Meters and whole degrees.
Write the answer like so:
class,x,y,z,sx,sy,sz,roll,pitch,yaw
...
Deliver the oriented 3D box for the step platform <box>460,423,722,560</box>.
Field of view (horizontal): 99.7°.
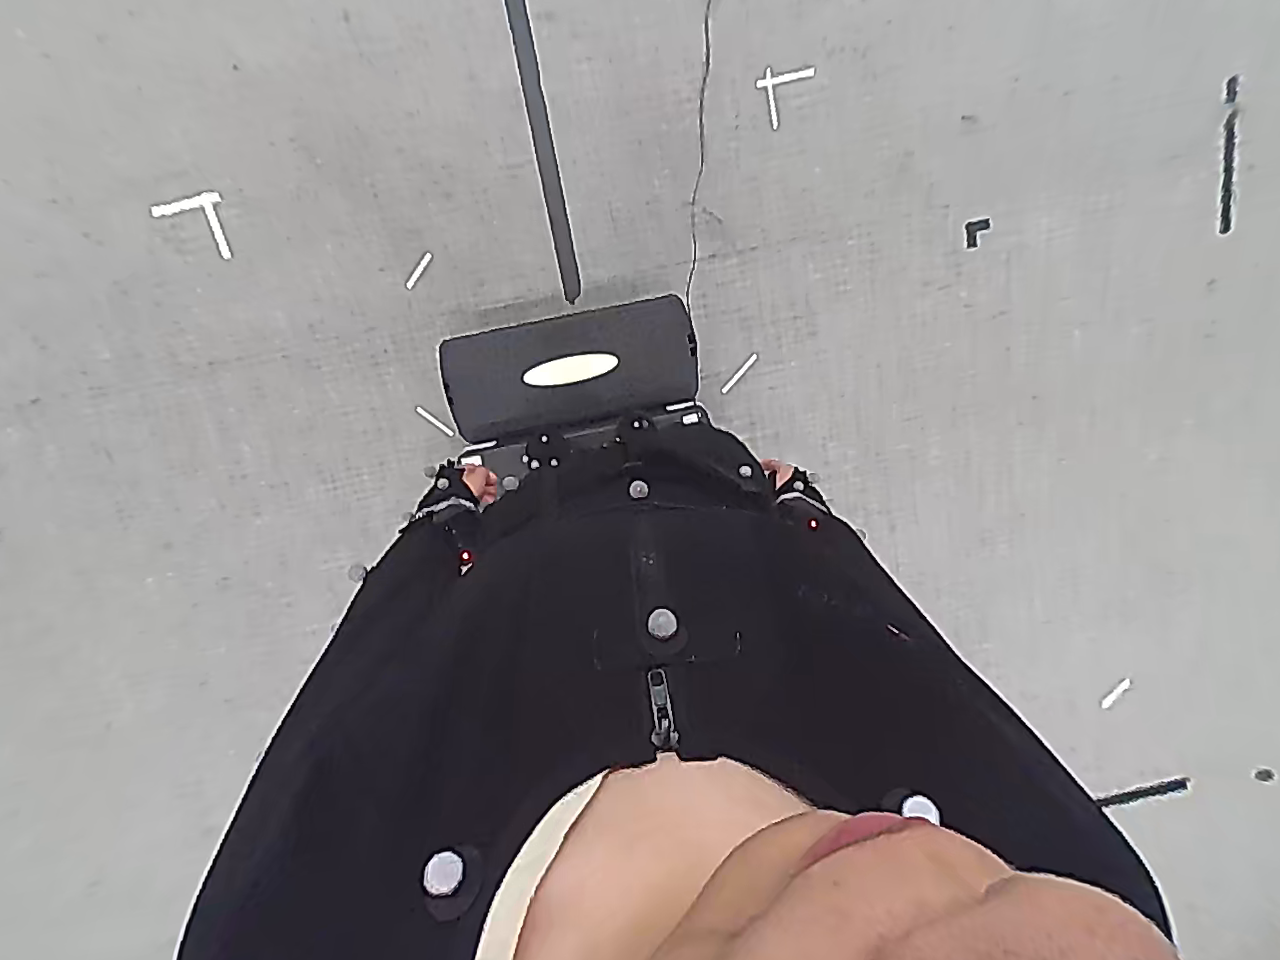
class,x,y,z,sx,sy,sz,roll,pitch,yaw
step platform,-0.124,0.027,1.459,0.684,0.204,0.286,-7,100,-1
